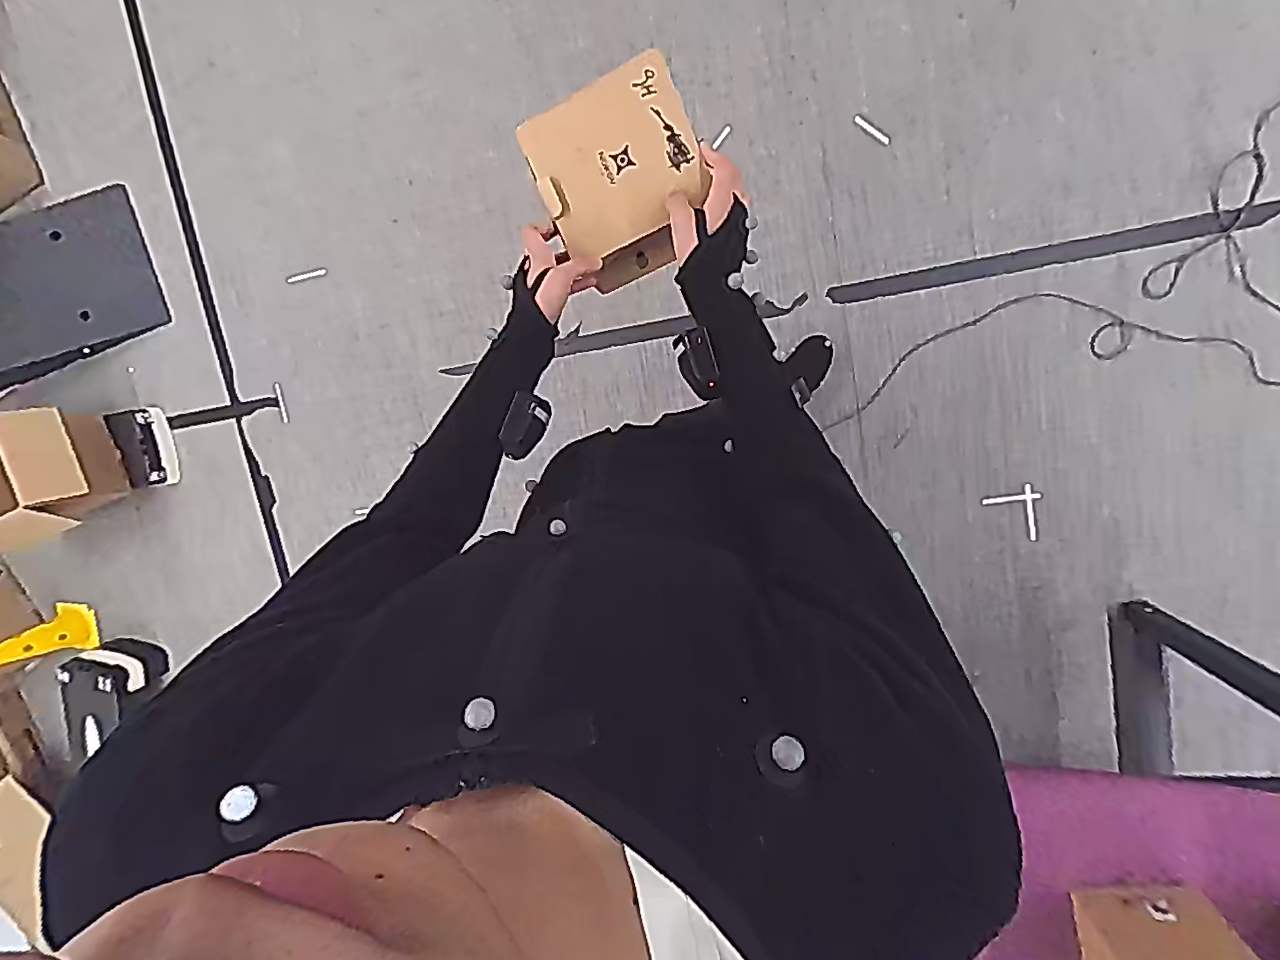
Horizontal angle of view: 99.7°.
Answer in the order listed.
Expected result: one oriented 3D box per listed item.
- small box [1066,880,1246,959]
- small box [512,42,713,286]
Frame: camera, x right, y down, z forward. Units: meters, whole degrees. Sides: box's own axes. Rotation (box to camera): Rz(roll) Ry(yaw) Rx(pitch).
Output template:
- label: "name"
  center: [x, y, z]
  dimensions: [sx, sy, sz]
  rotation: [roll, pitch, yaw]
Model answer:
- label: "small box"
  center: [0.744, 0.711, 0.760]
  dimensions: [0.168, 0.176, 0.179]
  rotation: [-13, 97, 14]
- label: "small box"
  center: [-0.019, -0.356, 0.653]
  dimensions: [0.179, 0.176, 0.168]
  rotation: [-23, 97, 11]
